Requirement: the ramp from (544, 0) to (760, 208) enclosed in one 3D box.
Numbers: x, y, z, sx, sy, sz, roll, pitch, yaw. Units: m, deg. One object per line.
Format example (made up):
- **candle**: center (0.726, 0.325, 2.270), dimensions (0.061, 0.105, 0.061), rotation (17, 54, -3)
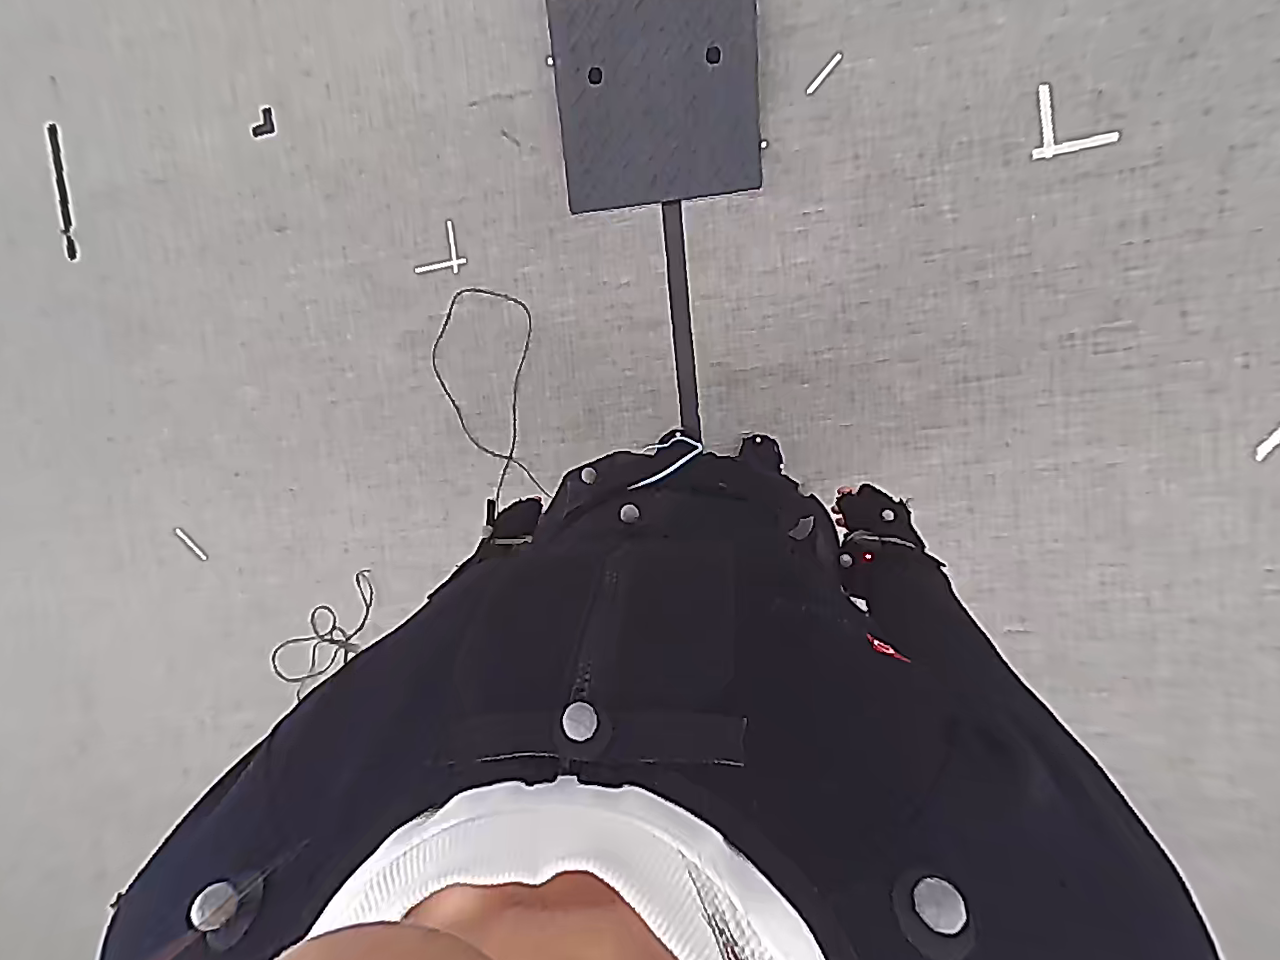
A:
- **ramp**: center (0.010, -1.197, 1.233), dimensions (0.509, 0.206, 0.991), rotation (-5, 96, 9)
